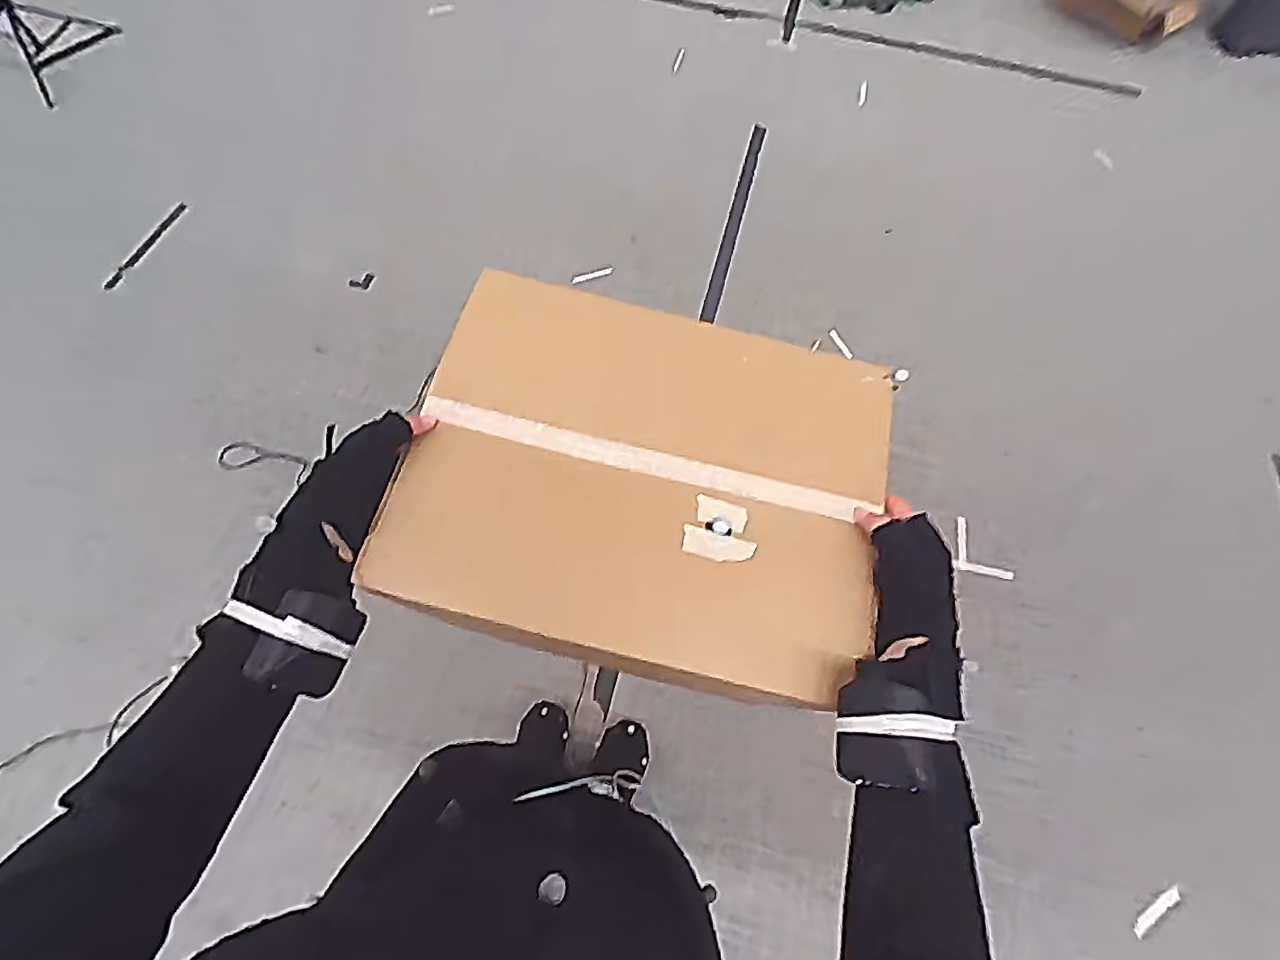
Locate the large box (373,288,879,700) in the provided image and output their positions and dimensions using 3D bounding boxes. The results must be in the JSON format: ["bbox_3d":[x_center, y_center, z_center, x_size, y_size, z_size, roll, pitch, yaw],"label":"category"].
[{"bbox_3d":[-0.003,0.044,0.617,0.408,0.320,0.320,14,70,0],"label":"large box"}]
